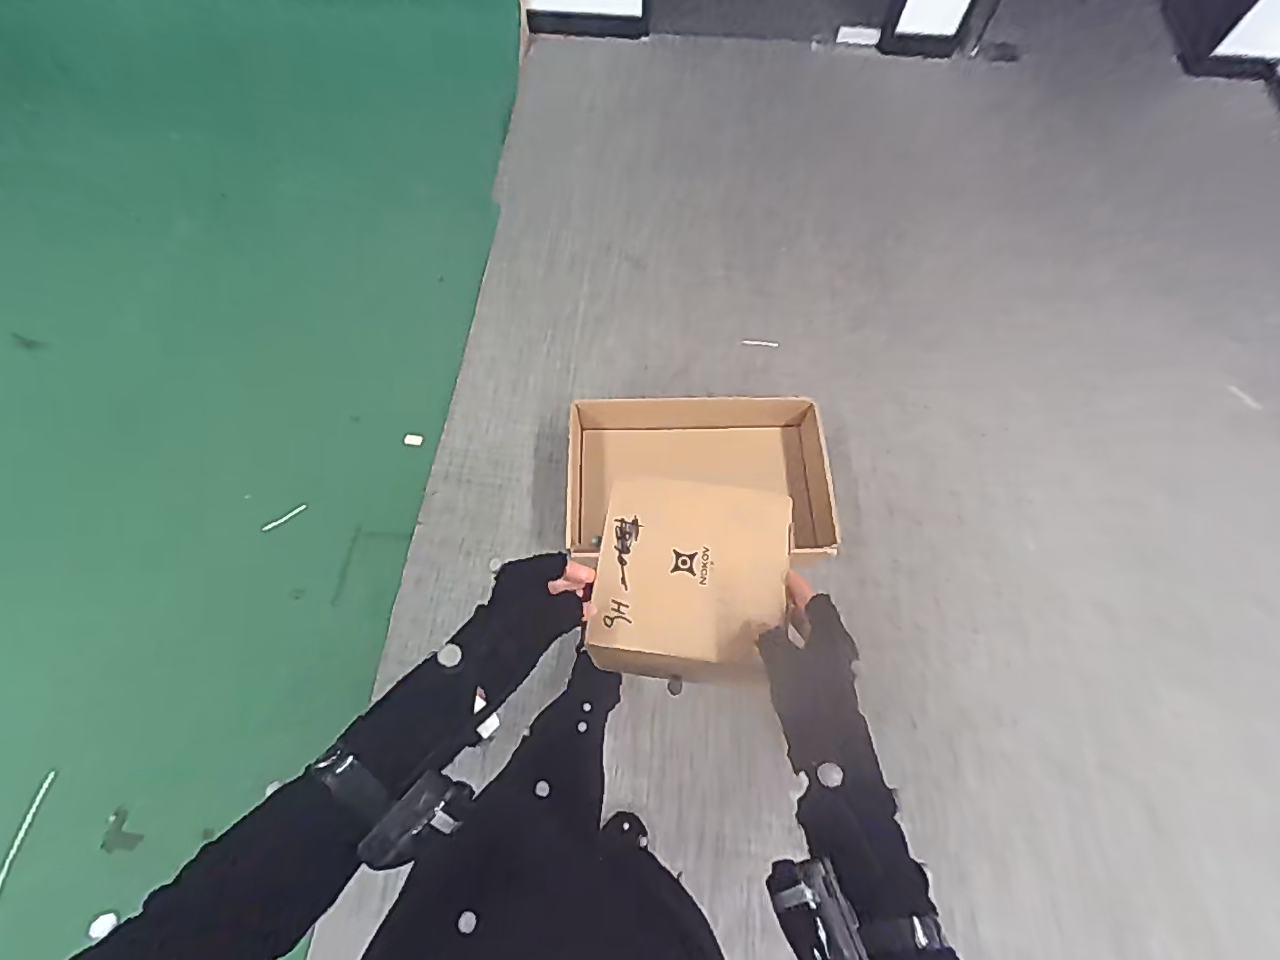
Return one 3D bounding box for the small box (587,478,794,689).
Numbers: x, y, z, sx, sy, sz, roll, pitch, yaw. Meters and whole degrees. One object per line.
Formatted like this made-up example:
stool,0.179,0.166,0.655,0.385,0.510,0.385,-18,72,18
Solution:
small box,0.051,0.117,0.566,0.179,0.176,0.168,8,63,4
